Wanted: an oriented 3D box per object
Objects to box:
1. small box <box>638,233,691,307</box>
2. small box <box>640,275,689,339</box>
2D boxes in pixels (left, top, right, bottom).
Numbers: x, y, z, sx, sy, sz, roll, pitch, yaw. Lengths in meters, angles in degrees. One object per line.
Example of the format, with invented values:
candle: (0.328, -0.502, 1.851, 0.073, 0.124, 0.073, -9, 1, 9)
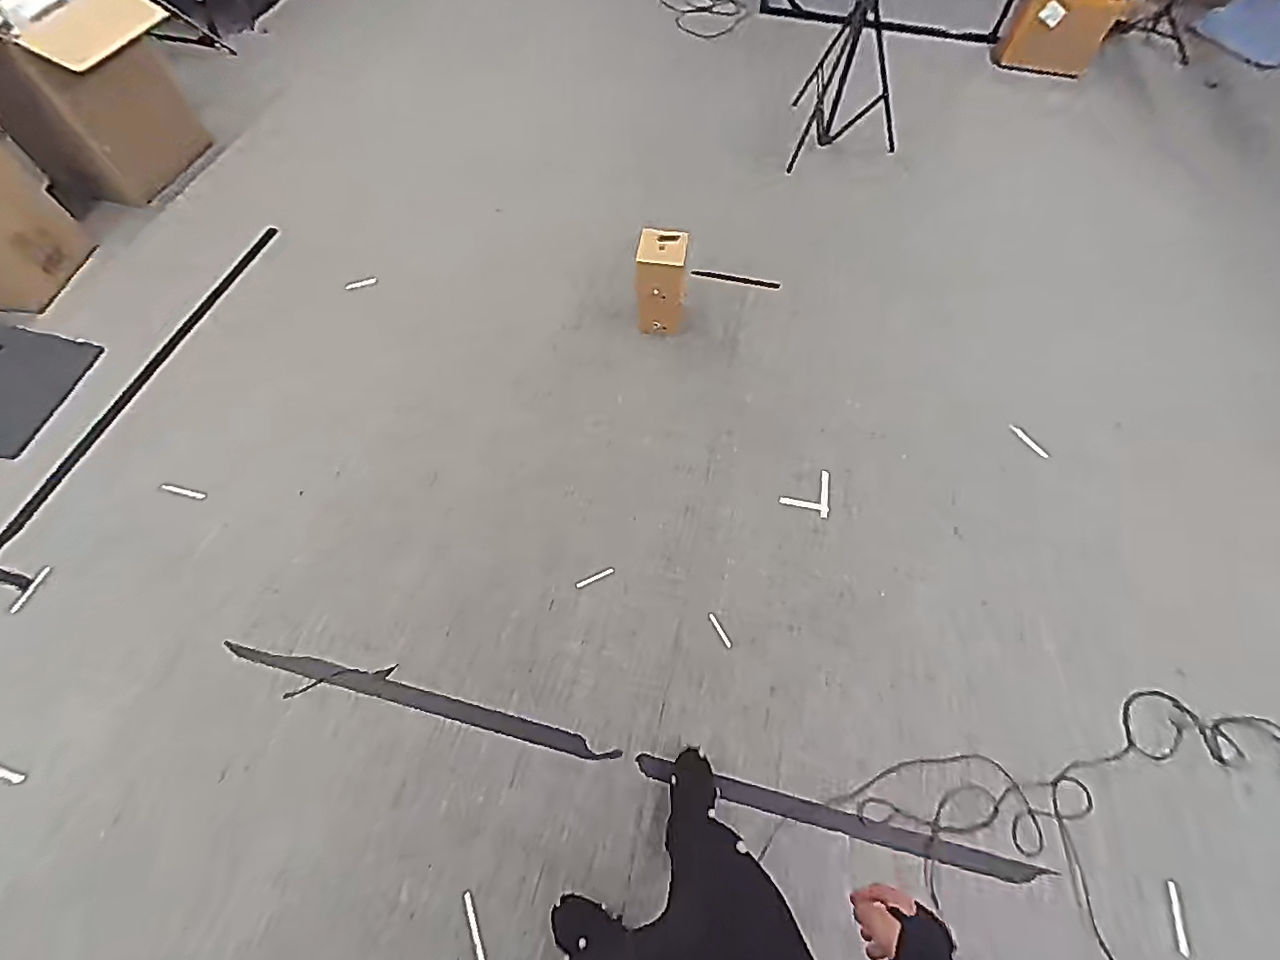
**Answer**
small box: (0.085, -0.750, 1.936, 0.168, 0.176, 0.179, 8, 62, 4)
small box: (0.091, -0.674, 2.080, 0.168, 0.176, 0.179, 7, 61, 3)
